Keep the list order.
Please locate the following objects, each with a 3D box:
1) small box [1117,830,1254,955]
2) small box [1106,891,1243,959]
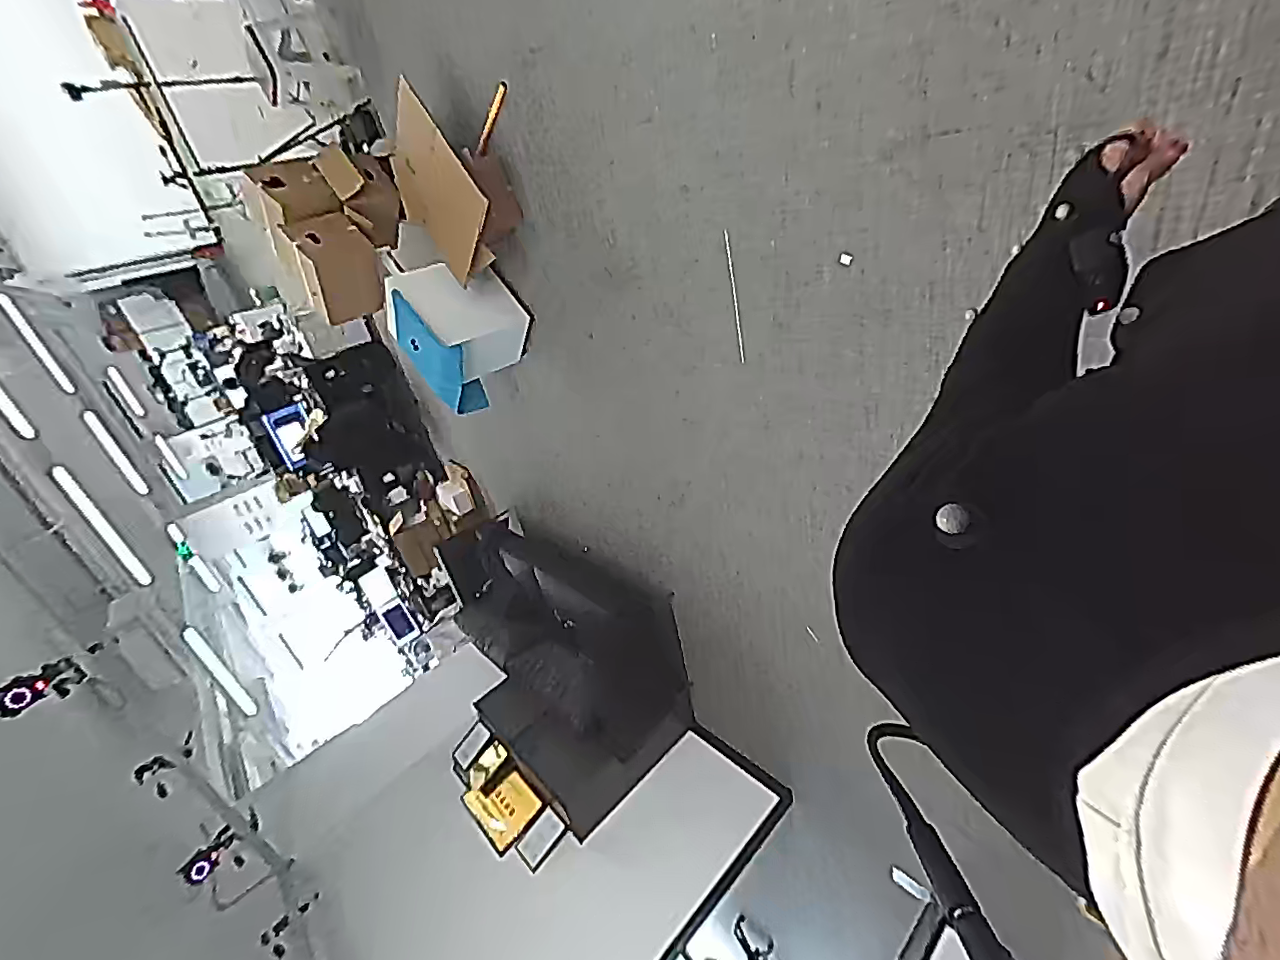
[{"bbox_3d":[1.230,0.951,1.220,0.168,0.176,0.179,25,134,43],"label":"small box"},{"bbox_3d":[1.109,1.018,1.130,0.168,0.176,0.179,26,136,42],"label":"small box"}]
